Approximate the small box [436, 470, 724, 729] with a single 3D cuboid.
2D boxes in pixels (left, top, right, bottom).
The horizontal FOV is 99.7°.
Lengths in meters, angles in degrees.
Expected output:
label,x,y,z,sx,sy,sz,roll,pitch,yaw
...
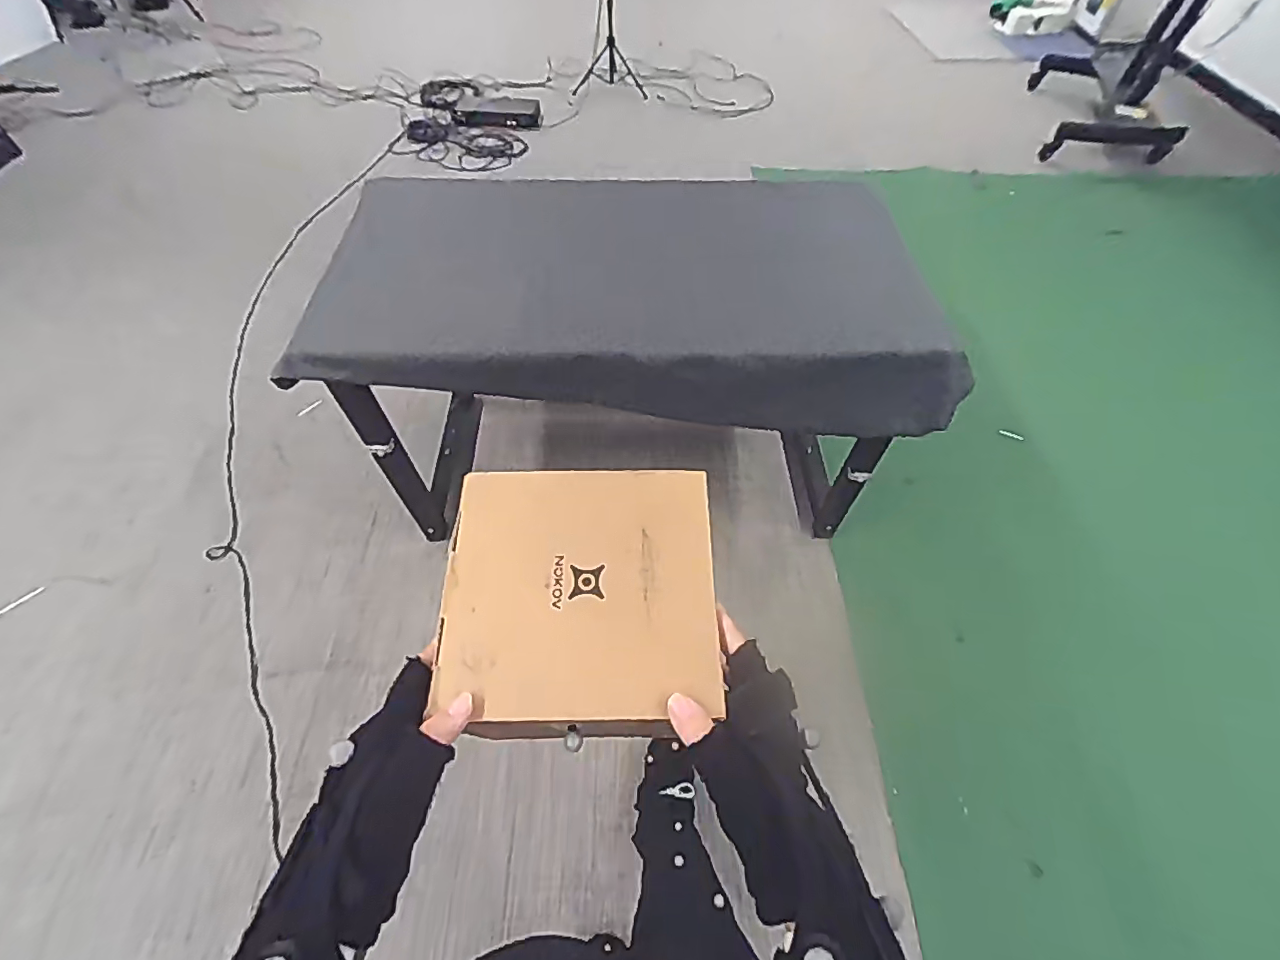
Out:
label,x,y,z,sx,sy,sz,roll,pitch,yaw
small box,-0.039,0.103,0.430,0.179,0.176,0.168,0,63,-3
